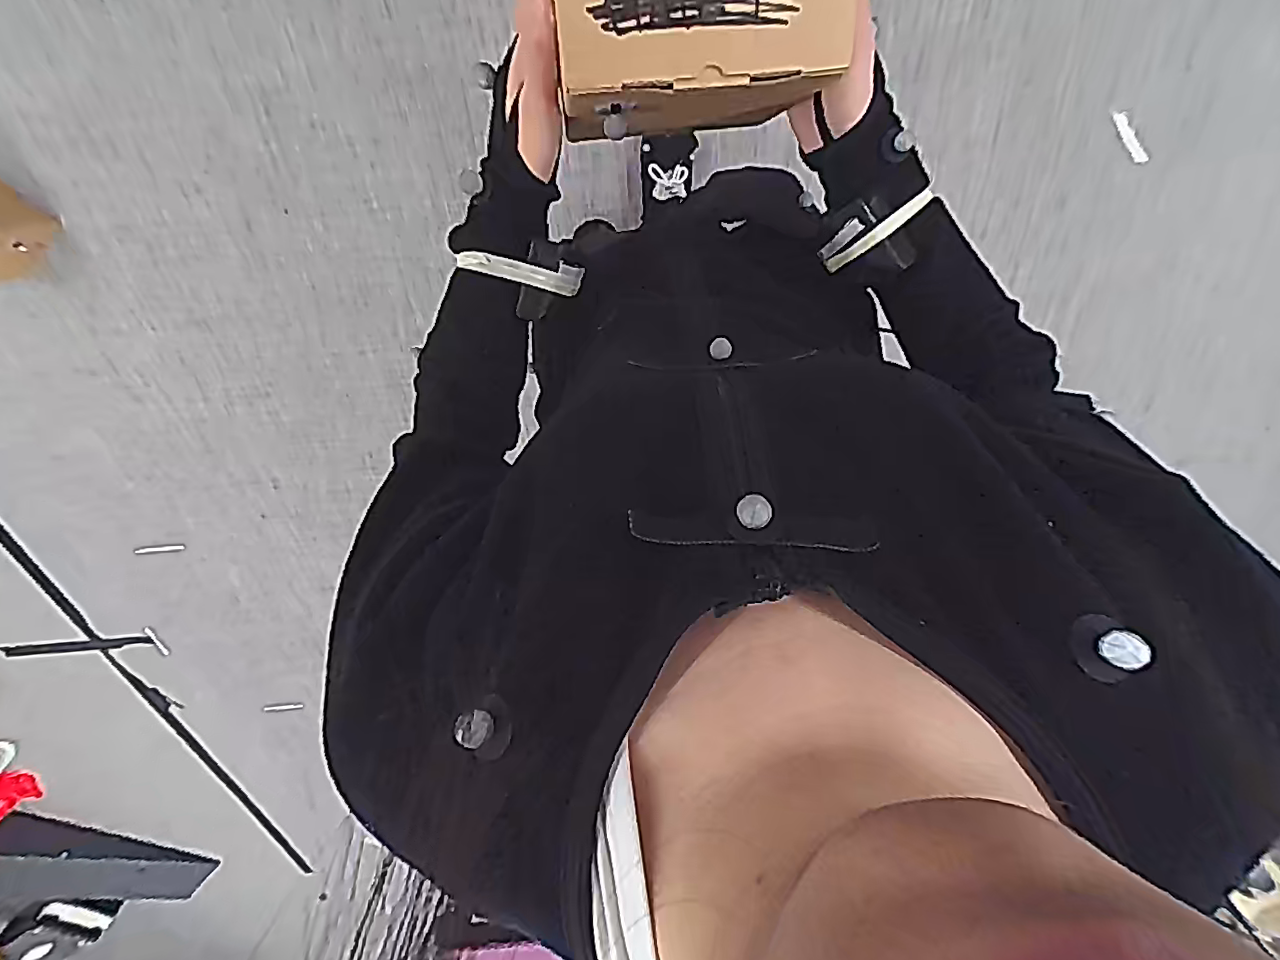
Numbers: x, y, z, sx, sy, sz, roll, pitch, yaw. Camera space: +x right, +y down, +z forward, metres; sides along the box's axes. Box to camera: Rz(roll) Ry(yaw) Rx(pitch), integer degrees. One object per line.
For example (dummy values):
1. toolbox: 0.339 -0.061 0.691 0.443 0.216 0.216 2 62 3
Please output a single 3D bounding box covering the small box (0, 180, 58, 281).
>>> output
1. small box: -1.411 -0.537 1.136 0.168 0.176 0.179 -39 115 18
